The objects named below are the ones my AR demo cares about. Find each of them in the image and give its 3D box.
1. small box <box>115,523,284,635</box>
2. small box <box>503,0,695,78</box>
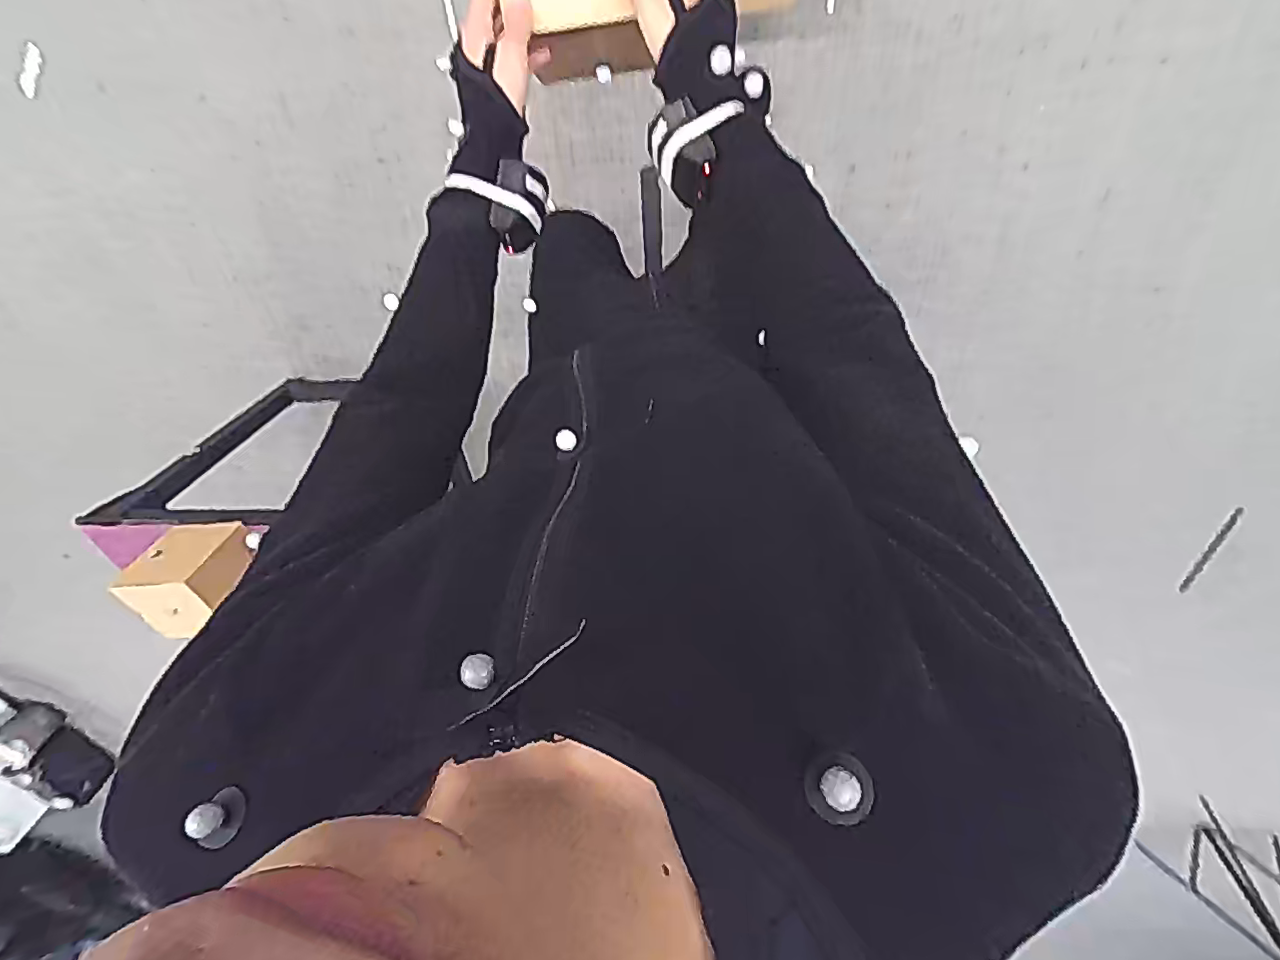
[{"bbox_3d":[-0.905,0.204,1.132,0.179,0.176,0.168,-3,129,10],"label":"small box"},{"bbox_3d":[-0.040,-0.506,0.499,0.168,0.176,0.179,-5,114,4],"label":"small box"}]
